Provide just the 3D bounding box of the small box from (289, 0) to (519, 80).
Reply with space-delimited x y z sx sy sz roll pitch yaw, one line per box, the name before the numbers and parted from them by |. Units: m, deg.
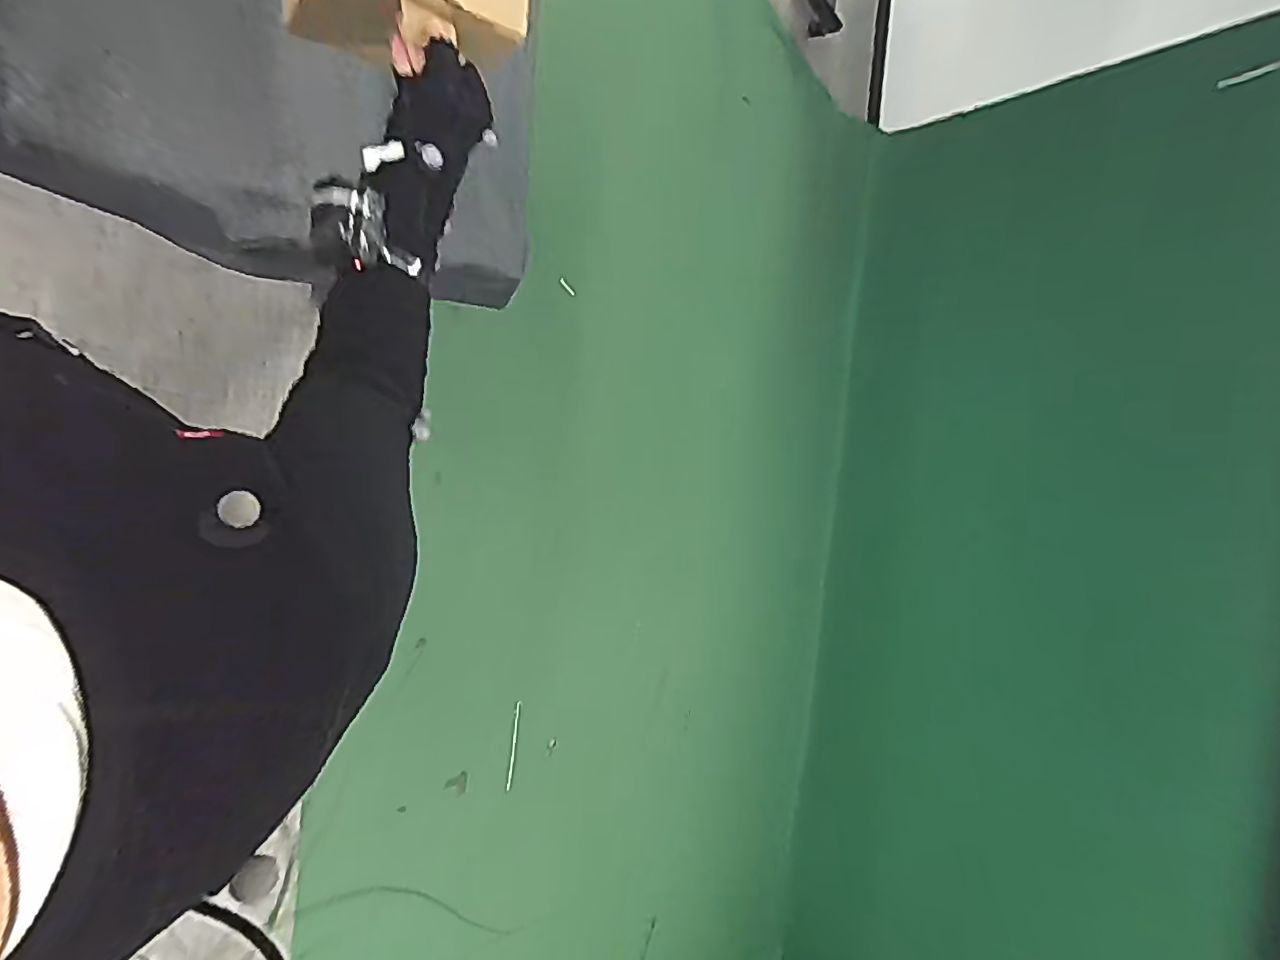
small box | -0.218 -0.501 0.482 0.168 0.176 0.179 -7 107 -41
